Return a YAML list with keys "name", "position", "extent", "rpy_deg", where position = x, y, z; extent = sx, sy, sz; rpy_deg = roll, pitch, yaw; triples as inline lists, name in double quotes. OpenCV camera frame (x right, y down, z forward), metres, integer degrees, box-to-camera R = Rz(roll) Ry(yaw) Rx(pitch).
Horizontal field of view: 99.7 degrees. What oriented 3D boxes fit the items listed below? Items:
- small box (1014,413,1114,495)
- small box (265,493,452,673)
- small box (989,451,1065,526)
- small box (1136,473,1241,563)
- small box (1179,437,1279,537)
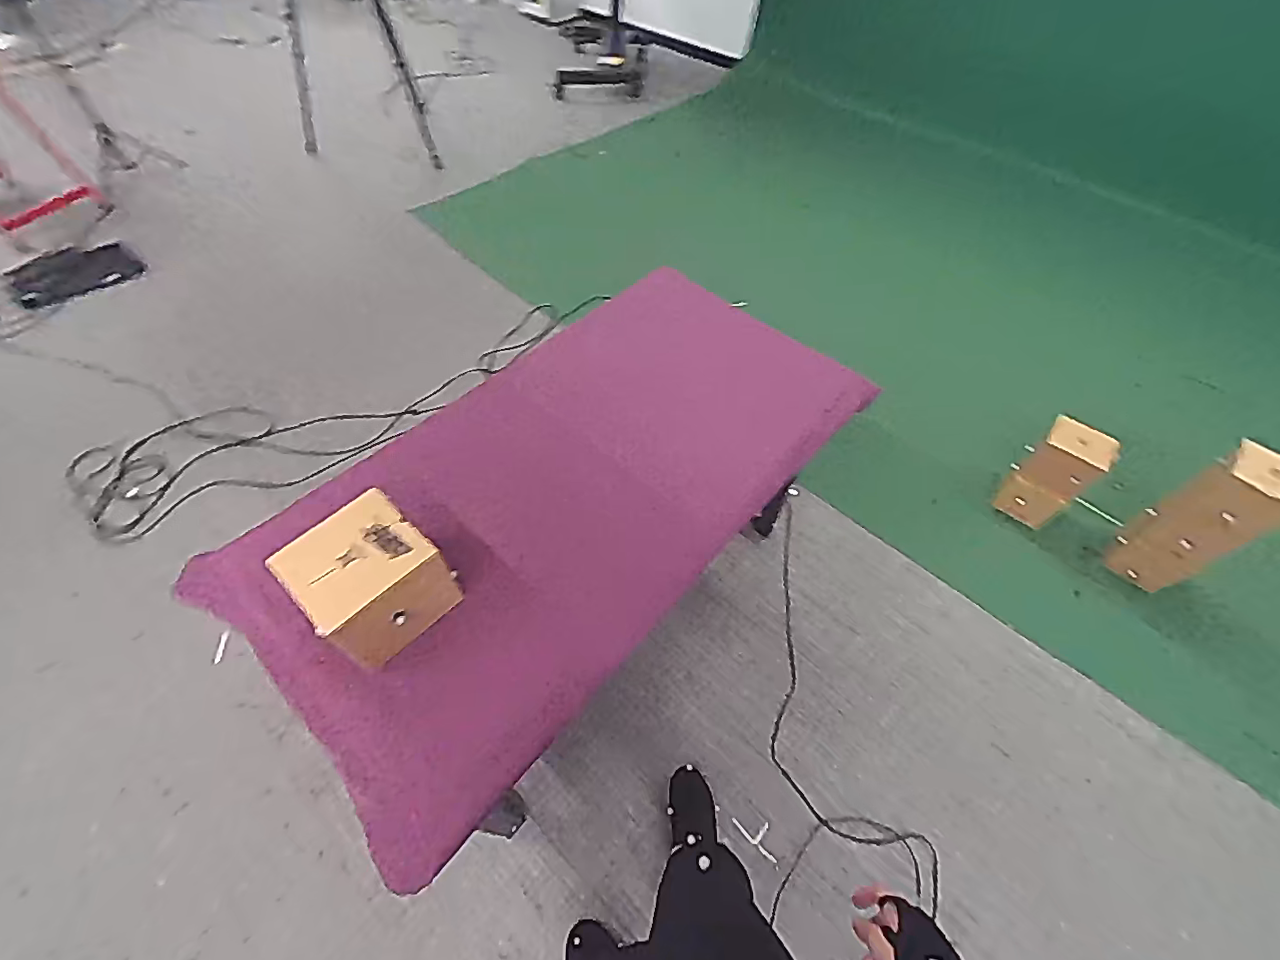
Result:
- name: "small box"
  position: [1.375, -0.077, 1.761]
  extent: [0.179, 0.176, 0.168]
  rpy_deg: [35, 59, 22]
- name: "small box"
  position: [-0.411, 0.160, 0.827]
  extent: [0.168, 0.176, 0.179]
  rpy_deg: [37, 62, 22]
- name: "small box"
  position: [1.359, 0.027, 1.885]
  extent: [0.168, 0.176, 0.179]
  rpy_deg: [35, 59, 21]
- name: "small box"
  position: [1.657, 0.119, 1.626]
  extent: [0.168, 0.176, 0.179]
  rpy_deg: [38, 63, 22]
- name: "small box"
  position: [1.660, 0.021, 1.494]
  extent: [0.168, 0.176, 0.179]
  rpy_deg: [39, 63, 23]
